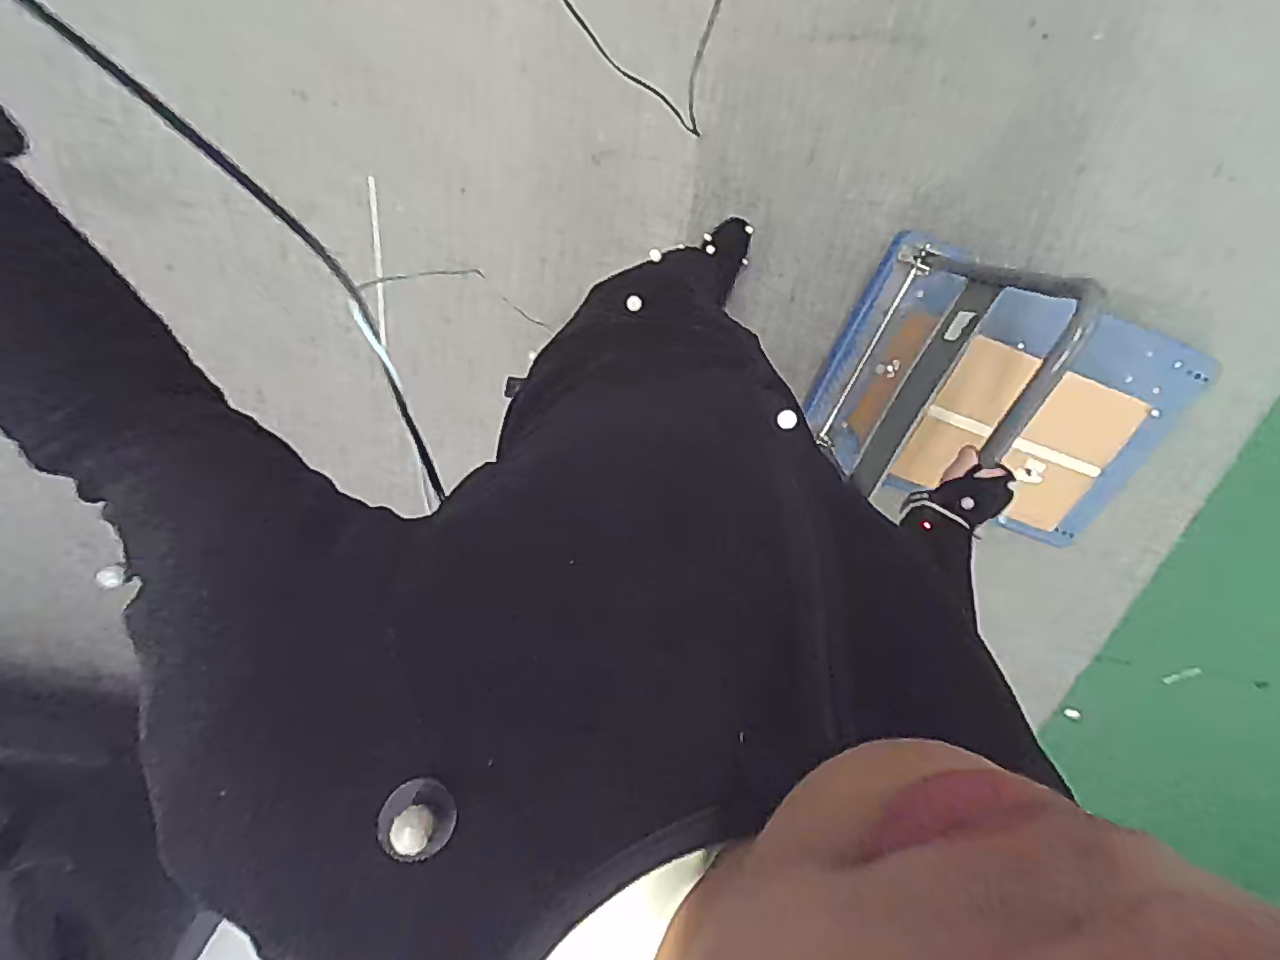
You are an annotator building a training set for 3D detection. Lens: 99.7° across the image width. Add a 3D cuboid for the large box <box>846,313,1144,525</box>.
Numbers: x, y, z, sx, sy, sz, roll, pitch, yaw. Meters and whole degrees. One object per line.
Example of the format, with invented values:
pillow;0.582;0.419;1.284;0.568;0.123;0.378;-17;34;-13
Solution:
large box;0.759;-0.152;1.235;0.408;0.320;0.320;19;116;-6
